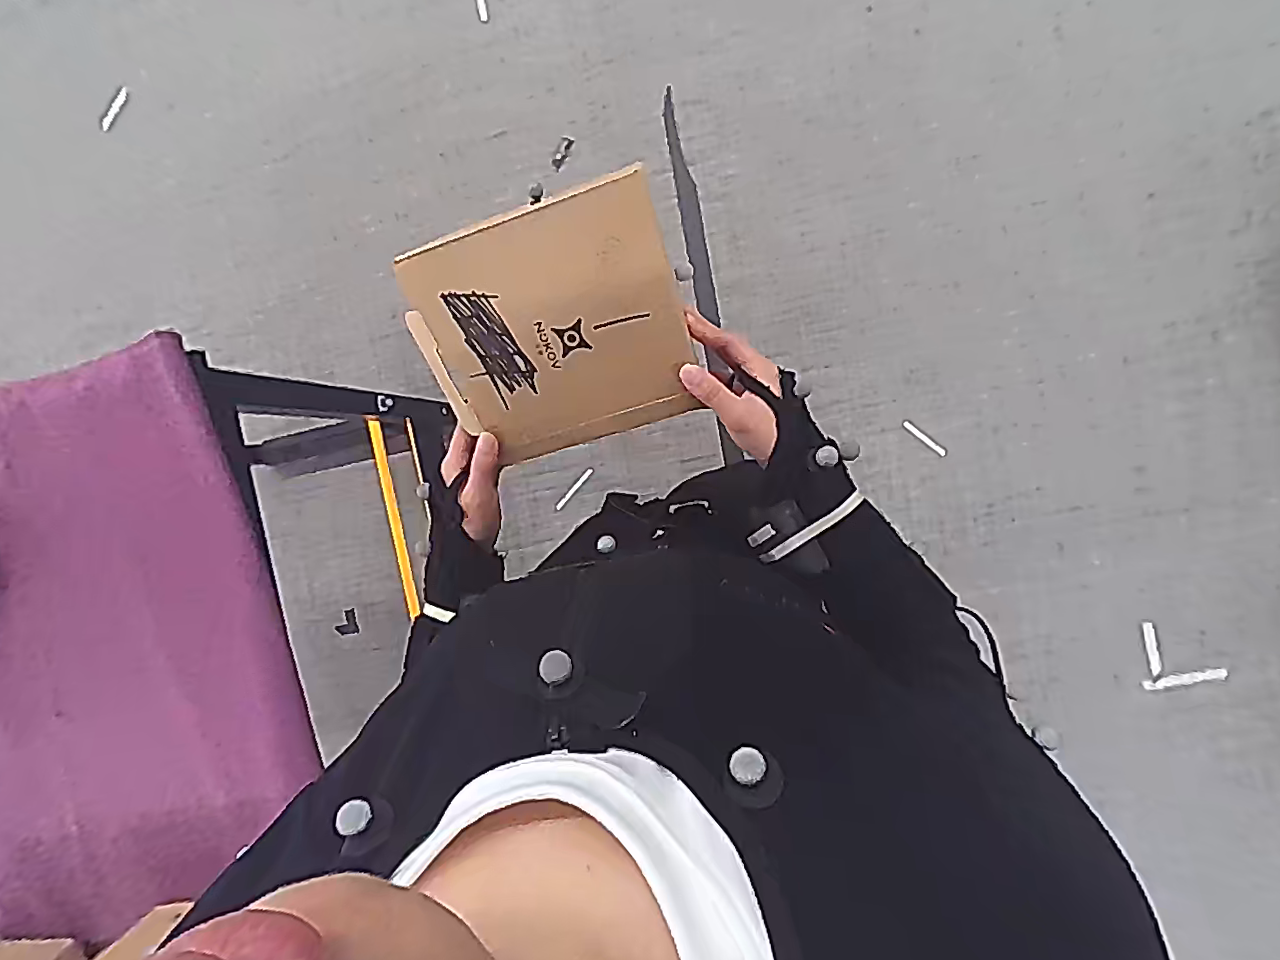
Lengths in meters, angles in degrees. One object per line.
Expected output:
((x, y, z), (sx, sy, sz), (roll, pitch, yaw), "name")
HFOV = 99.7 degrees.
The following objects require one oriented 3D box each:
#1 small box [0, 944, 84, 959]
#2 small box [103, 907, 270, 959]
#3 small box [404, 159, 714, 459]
((-0.852, 0.749, 0.692), (0.176, 0.168, 0.179), (-8, 100, 9), "small box")
((-0.590, 0.670, 0.667), (0.168, 0.176, 0.179), (-13, 92, 8), "small box")
((-0.048, -0.144, 0.442), (0.179, 0.176, 0.168), (-15, 120, 9), "small box")
